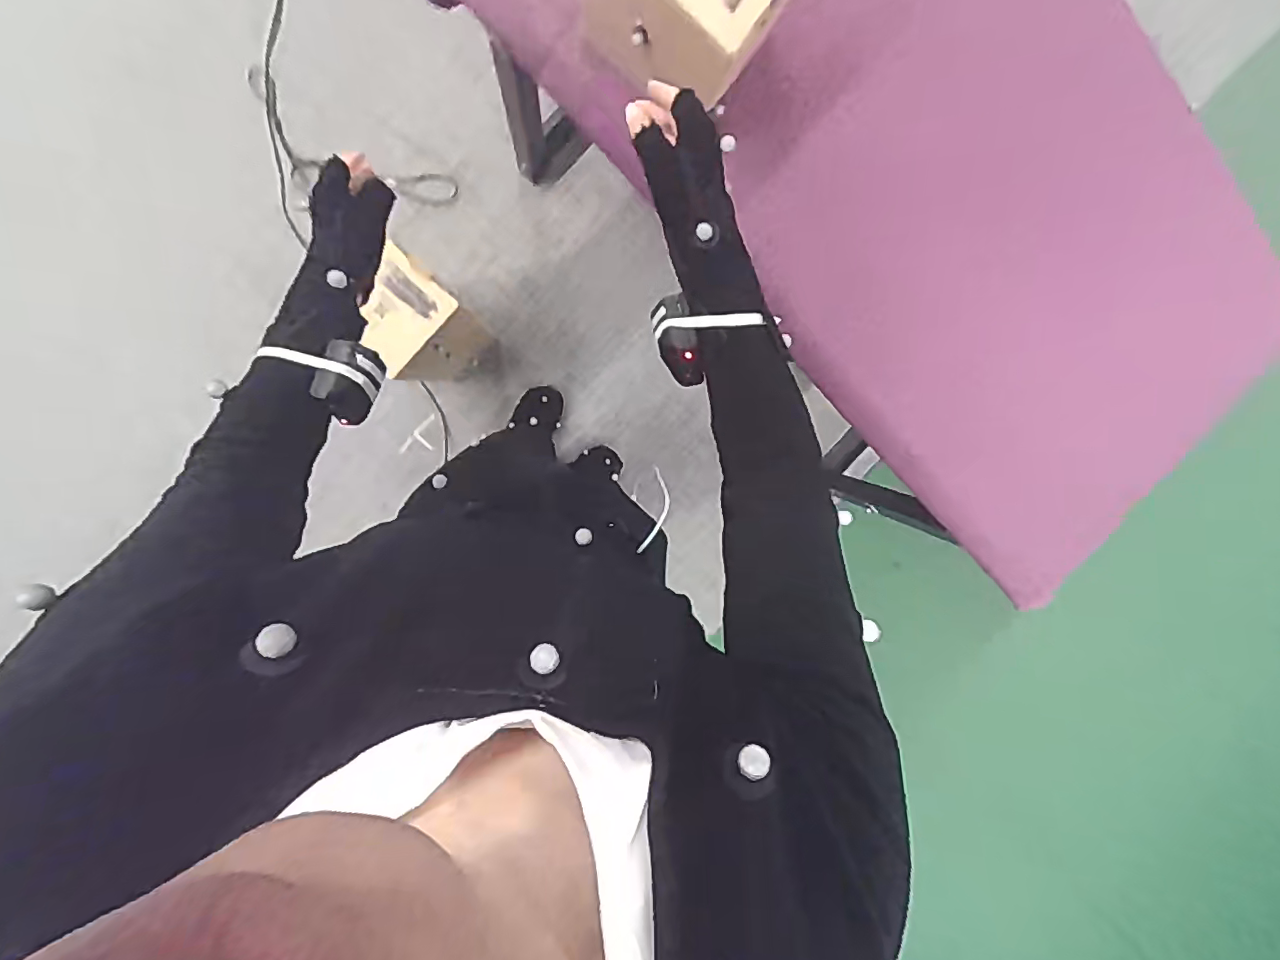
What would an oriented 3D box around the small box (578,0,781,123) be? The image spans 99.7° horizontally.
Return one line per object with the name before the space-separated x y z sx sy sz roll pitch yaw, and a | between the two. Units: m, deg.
small box | 0.051 -0.530 0.580 0.179 0.176 0.168 37 91 -12
